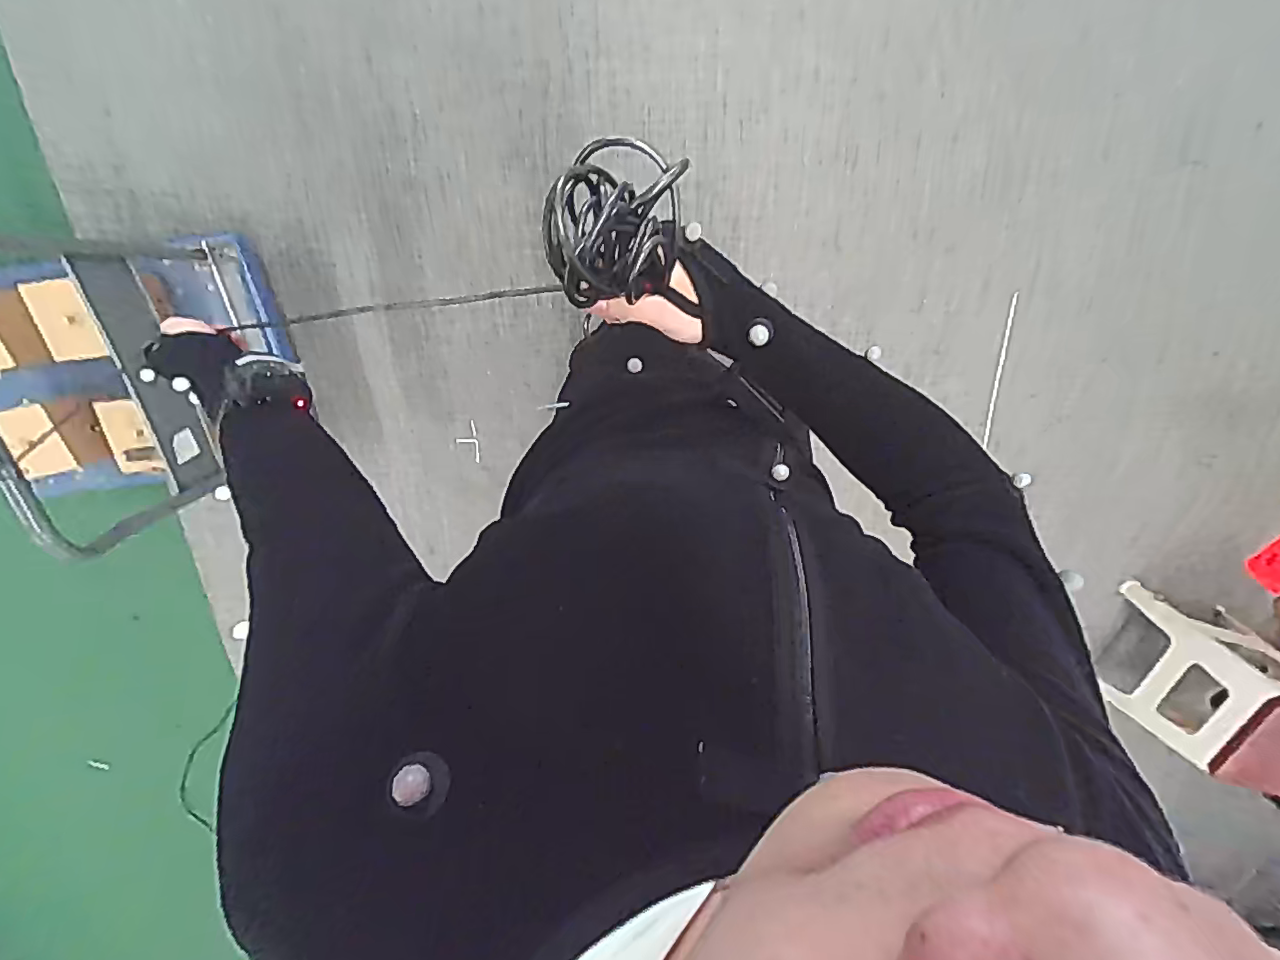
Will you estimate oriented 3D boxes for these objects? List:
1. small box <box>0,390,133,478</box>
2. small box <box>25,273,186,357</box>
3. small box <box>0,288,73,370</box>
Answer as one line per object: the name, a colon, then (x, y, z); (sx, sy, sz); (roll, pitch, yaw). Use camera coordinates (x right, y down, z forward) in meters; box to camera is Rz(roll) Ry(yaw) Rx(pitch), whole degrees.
small box: (-1.445, -0.121, 1.361); (0.179, 0.176, 0.168); (-11, 110, 4)
small box: (-1.229, -0.385, 1.259); (0.179, 0.176, 0.168); (-6, 110, 2)
small box: (-1.497, -0.352, 1.273); (0.179, 0.176, 0.168); (-11, 111, 4)
